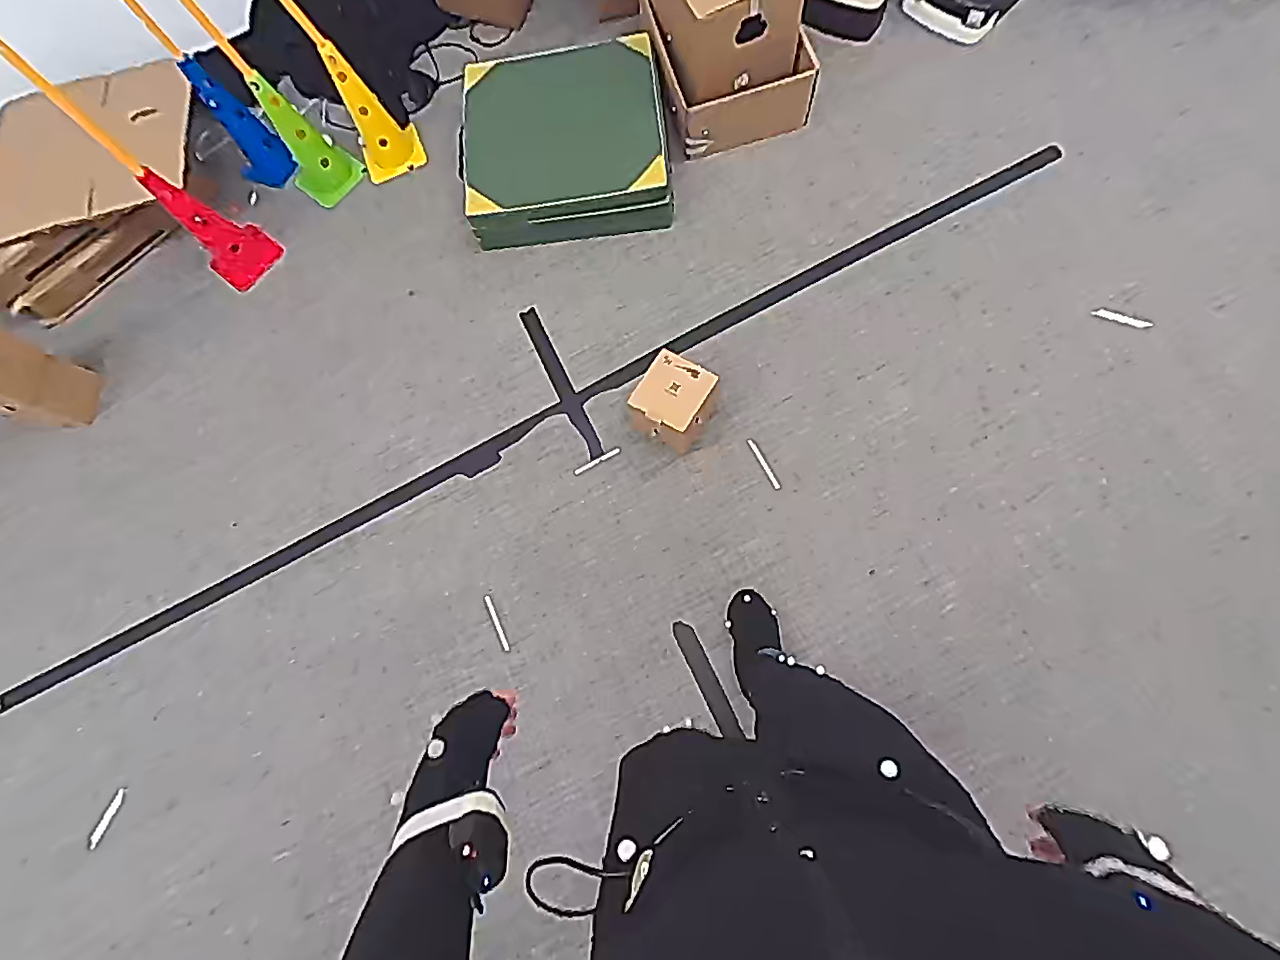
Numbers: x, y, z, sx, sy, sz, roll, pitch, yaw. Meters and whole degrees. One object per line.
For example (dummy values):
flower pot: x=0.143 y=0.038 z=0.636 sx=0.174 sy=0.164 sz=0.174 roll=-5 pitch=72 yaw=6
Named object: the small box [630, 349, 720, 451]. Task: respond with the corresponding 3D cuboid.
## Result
small box: x=0.097 y=-0.199 z=1.406 sx=0.168 sy=0.176 sz=0.179 roll=28 pitch=79 yaw=14
